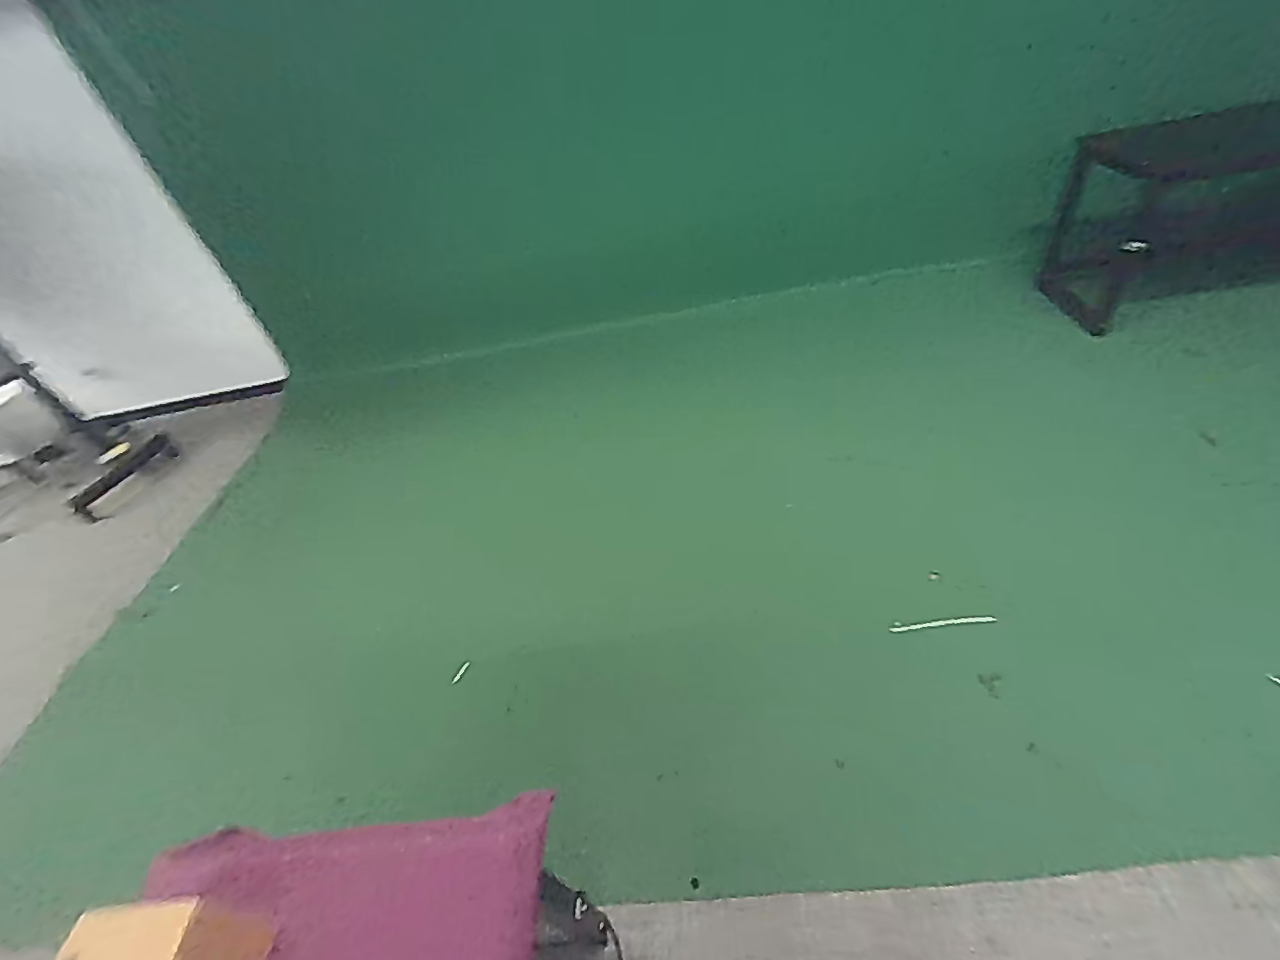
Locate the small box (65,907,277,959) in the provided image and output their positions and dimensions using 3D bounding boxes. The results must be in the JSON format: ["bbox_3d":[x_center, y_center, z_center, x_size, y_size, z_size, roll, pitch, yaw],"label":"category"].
[{"bbox_3d":[-0.629,0.678,0.705,0.179,0.176,0.168,-10,43,5],"label":"small box"}]
